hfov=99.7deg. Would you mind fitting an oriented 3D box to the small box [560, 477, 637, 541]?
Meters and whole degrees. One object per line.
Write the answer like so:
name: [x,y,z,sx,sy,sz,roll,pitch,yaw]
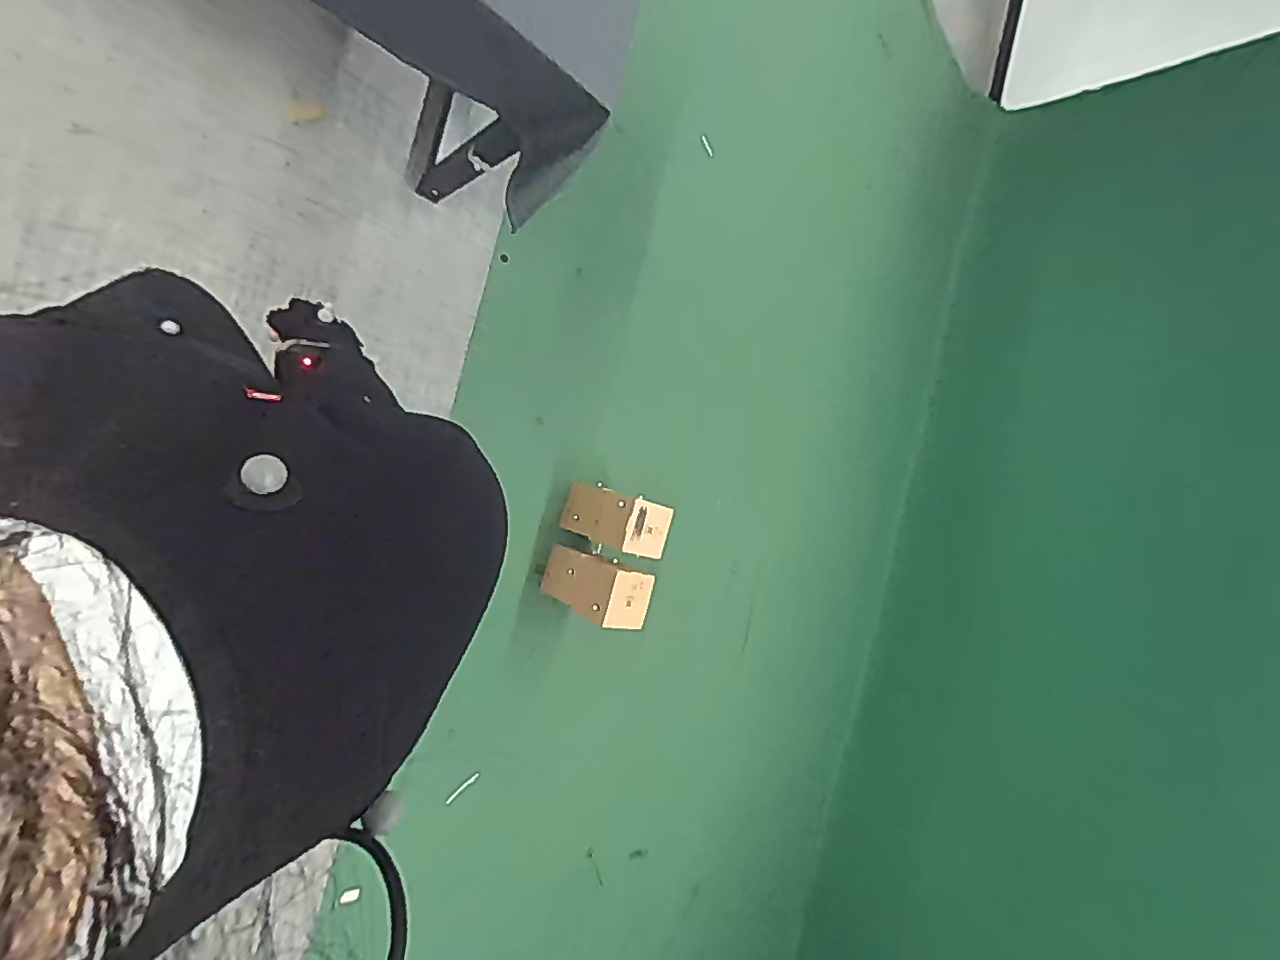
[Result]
small box: [-0.144,0.095,1.829,0.179,0.176,0.168,22,84,-42]
